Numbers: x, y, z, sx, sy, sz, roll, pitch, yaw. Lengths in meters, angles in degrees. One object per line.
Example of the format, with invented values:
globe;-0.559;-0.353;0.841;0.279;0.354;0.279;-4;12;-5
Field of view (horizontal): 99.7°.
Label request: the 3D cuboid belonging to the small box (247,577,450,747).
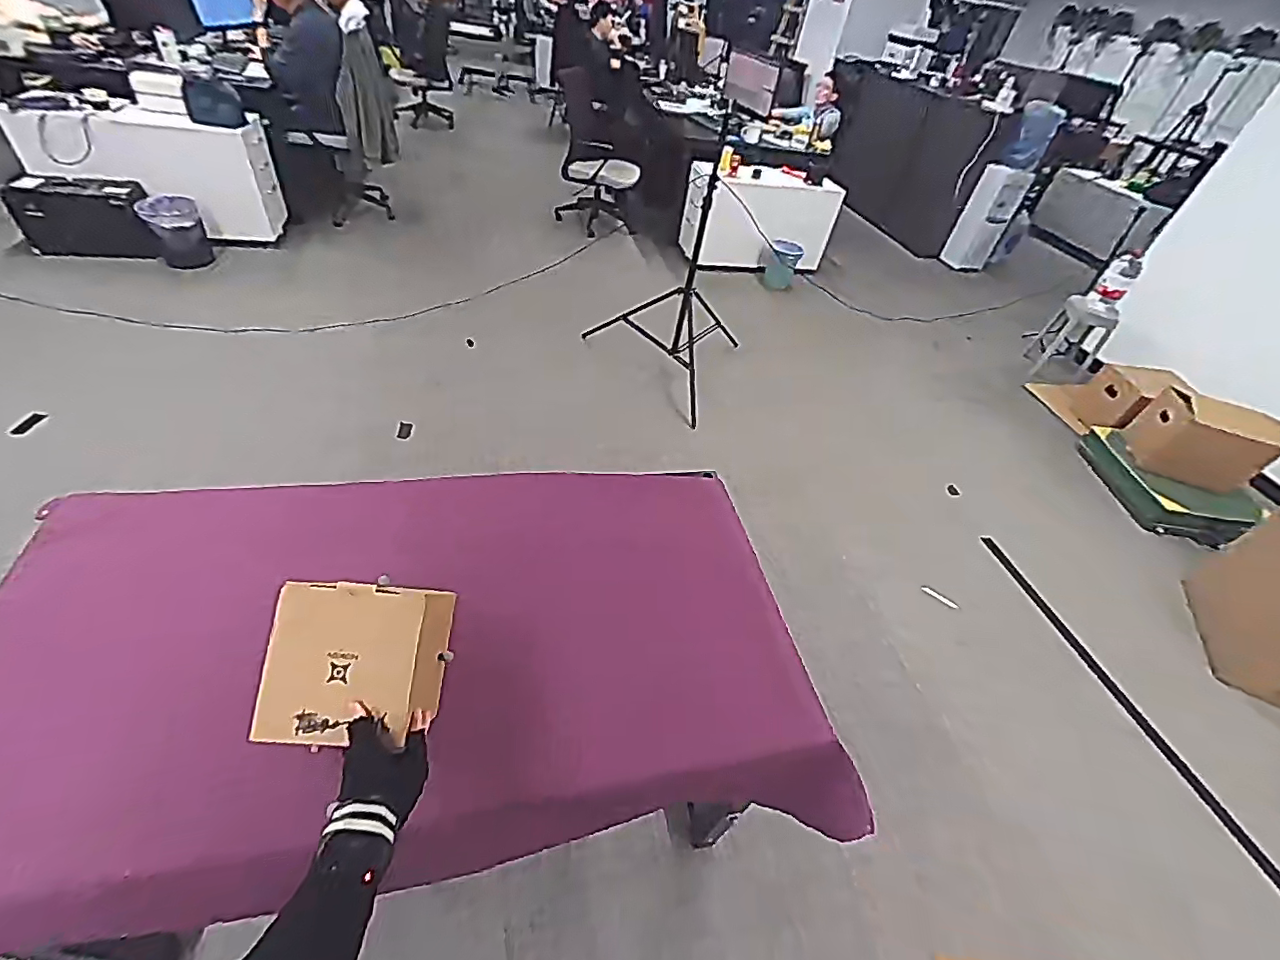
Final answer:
small box;-0.352;0.225;0.694;0.168;0.176;0.179;6;76;-6
